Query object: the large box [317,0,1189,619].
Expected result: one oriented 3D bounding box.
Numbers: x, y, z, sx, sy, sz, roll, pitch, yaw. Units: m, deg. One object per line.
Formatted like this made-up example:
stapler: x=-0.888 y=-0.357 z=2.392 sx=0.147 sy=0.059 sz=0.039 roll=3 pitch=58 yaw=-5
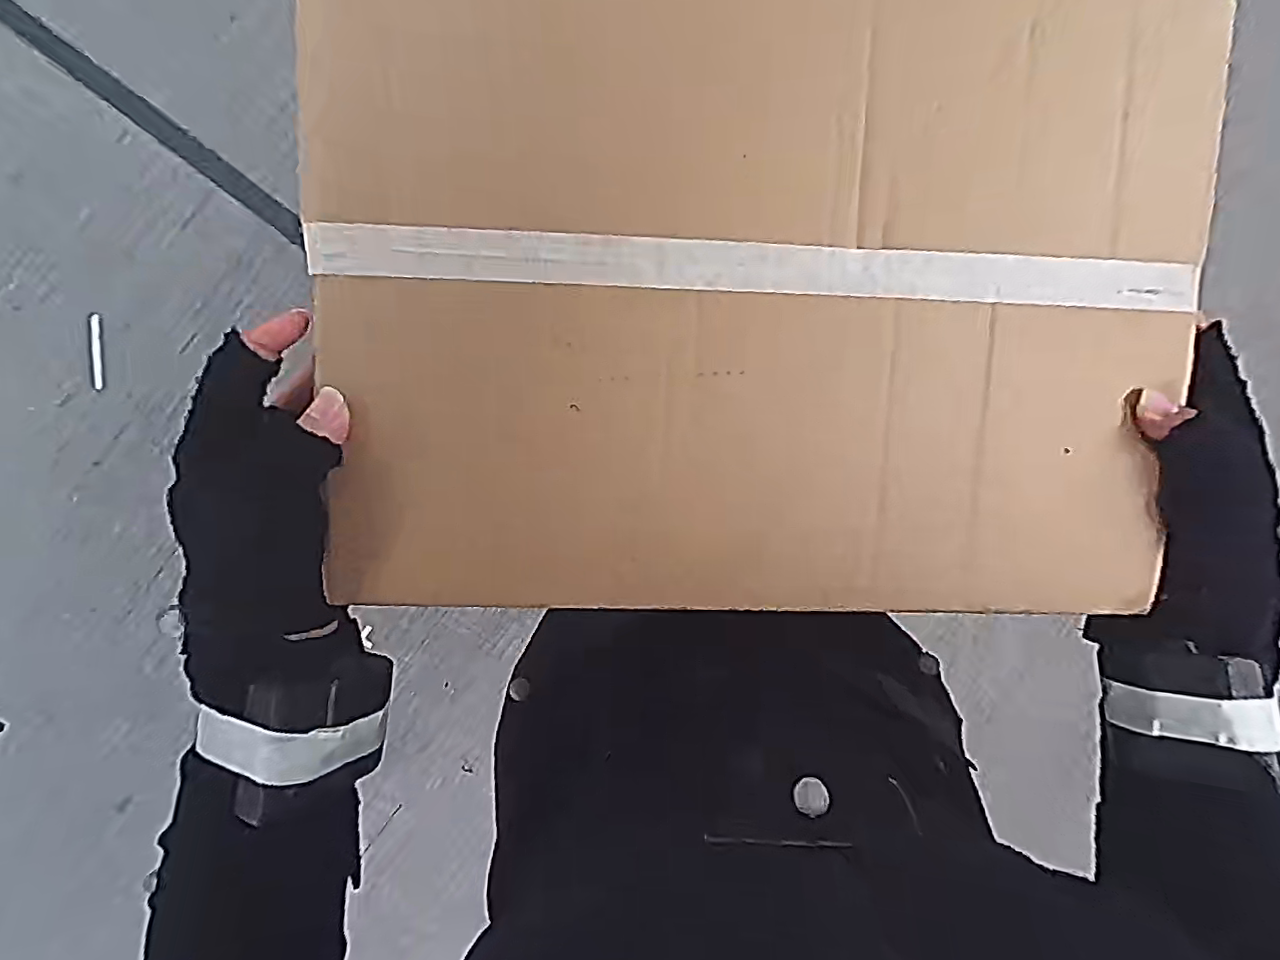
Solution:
large box: x=0.048 y=-0.102 z=0.403 sx=0.408 sy=0.320 sz=0.320 roll=1 pitch=97 yaw=-3
